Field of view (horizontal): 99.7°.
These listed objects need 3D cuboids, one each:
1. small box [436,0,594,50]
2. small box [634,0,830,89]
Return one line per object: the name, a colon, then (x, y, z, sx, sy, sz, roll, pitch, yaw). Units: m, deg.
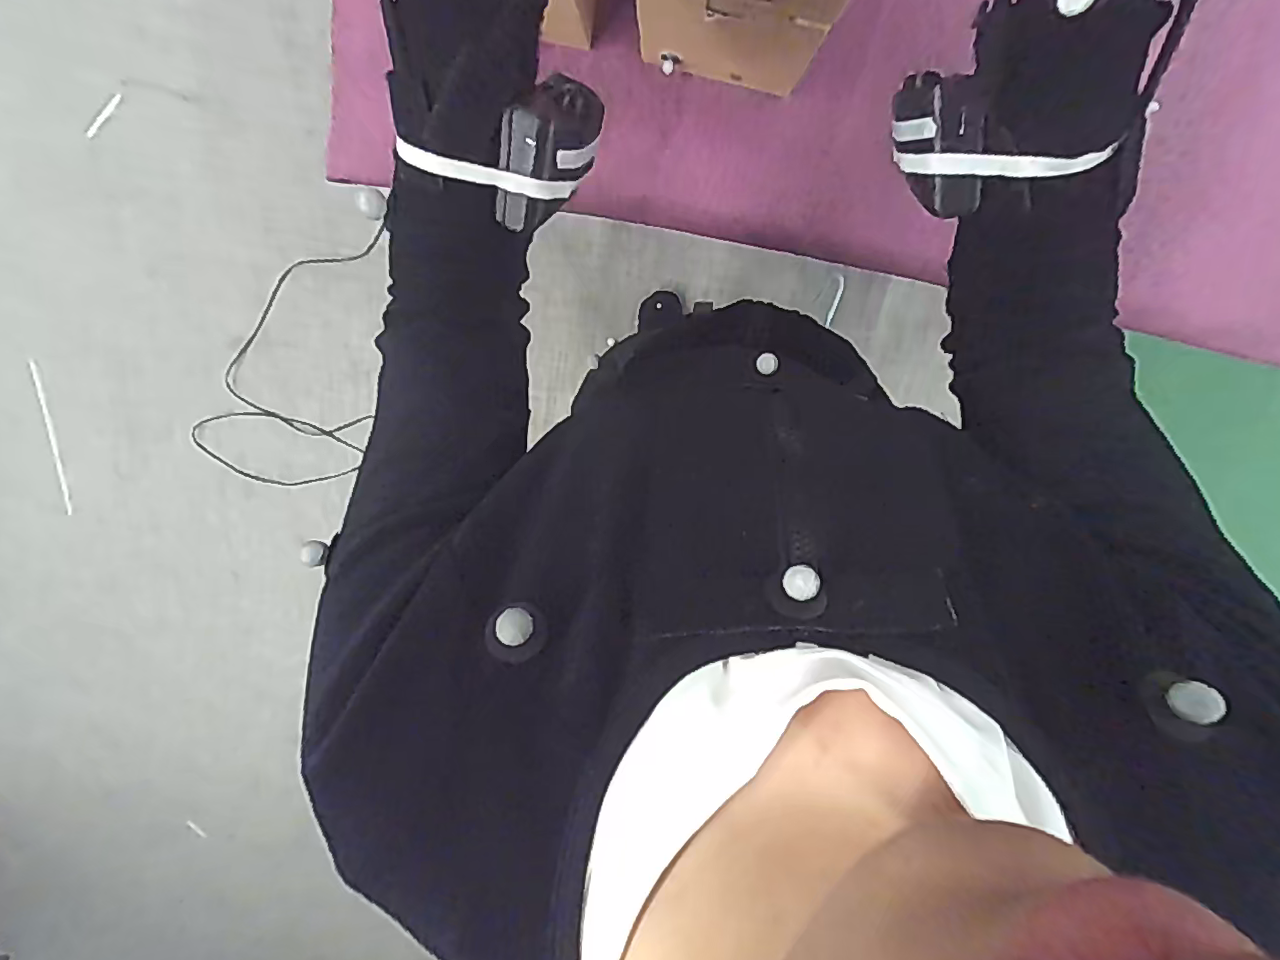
small box: (-0.123, -0.534, 0.481, 0.168, 0.176, 0.179, 11, 110, -1)
small box: (0.093, -0.492, 0.488, 0.168, 0.176, 0.179, 12, 109, -2)
